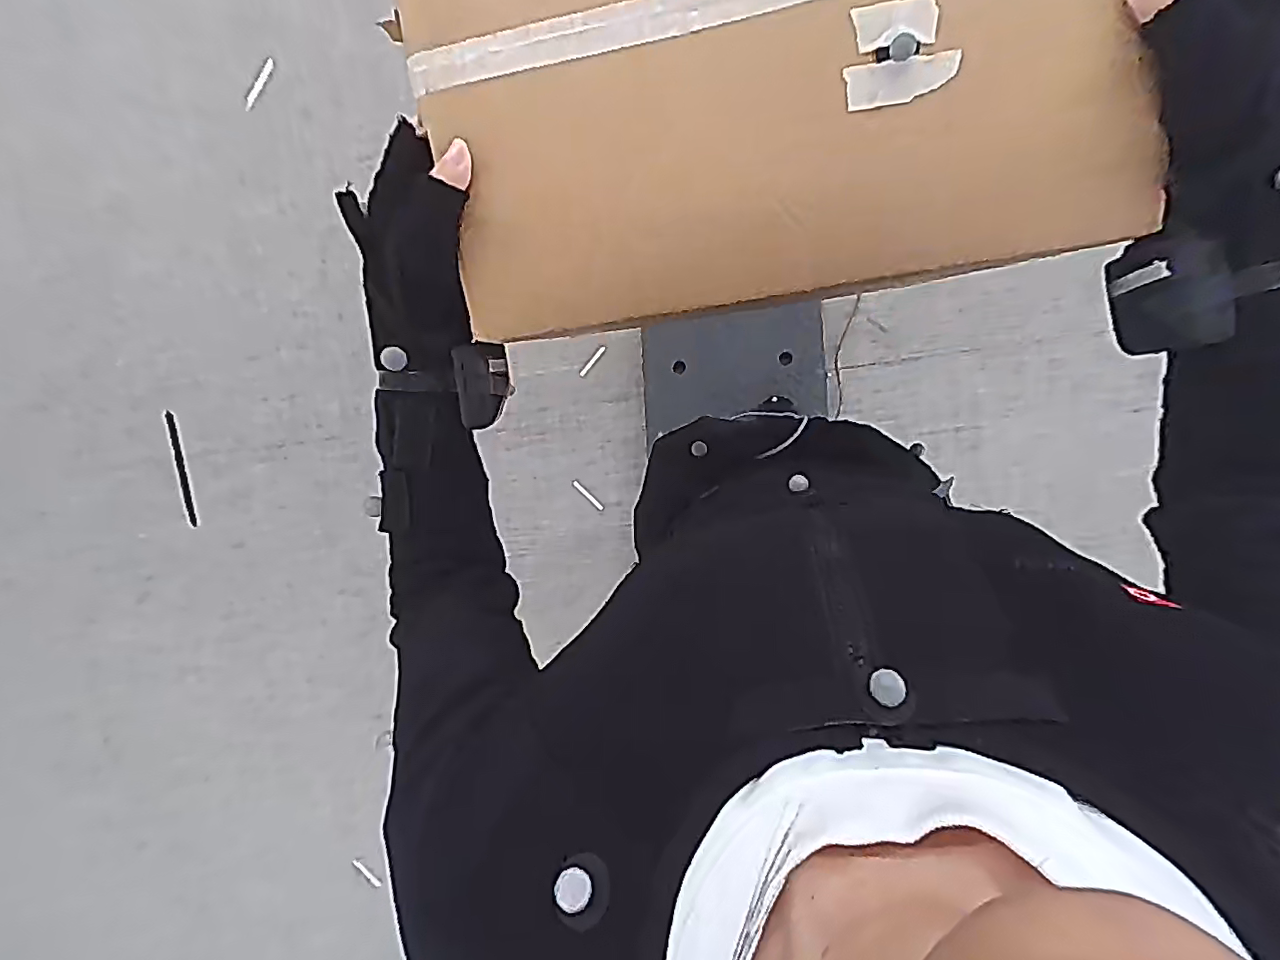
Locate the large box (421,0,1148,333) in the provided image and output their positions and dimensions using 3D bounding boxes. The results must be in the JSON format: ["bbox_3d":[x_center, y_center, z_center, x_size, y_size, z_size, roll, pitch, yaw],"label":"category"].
[{"bbox_3d":[0.083,-0.312,0.449,0.408,0.320,0.320,-7,105,8],"label":"large box"}]
